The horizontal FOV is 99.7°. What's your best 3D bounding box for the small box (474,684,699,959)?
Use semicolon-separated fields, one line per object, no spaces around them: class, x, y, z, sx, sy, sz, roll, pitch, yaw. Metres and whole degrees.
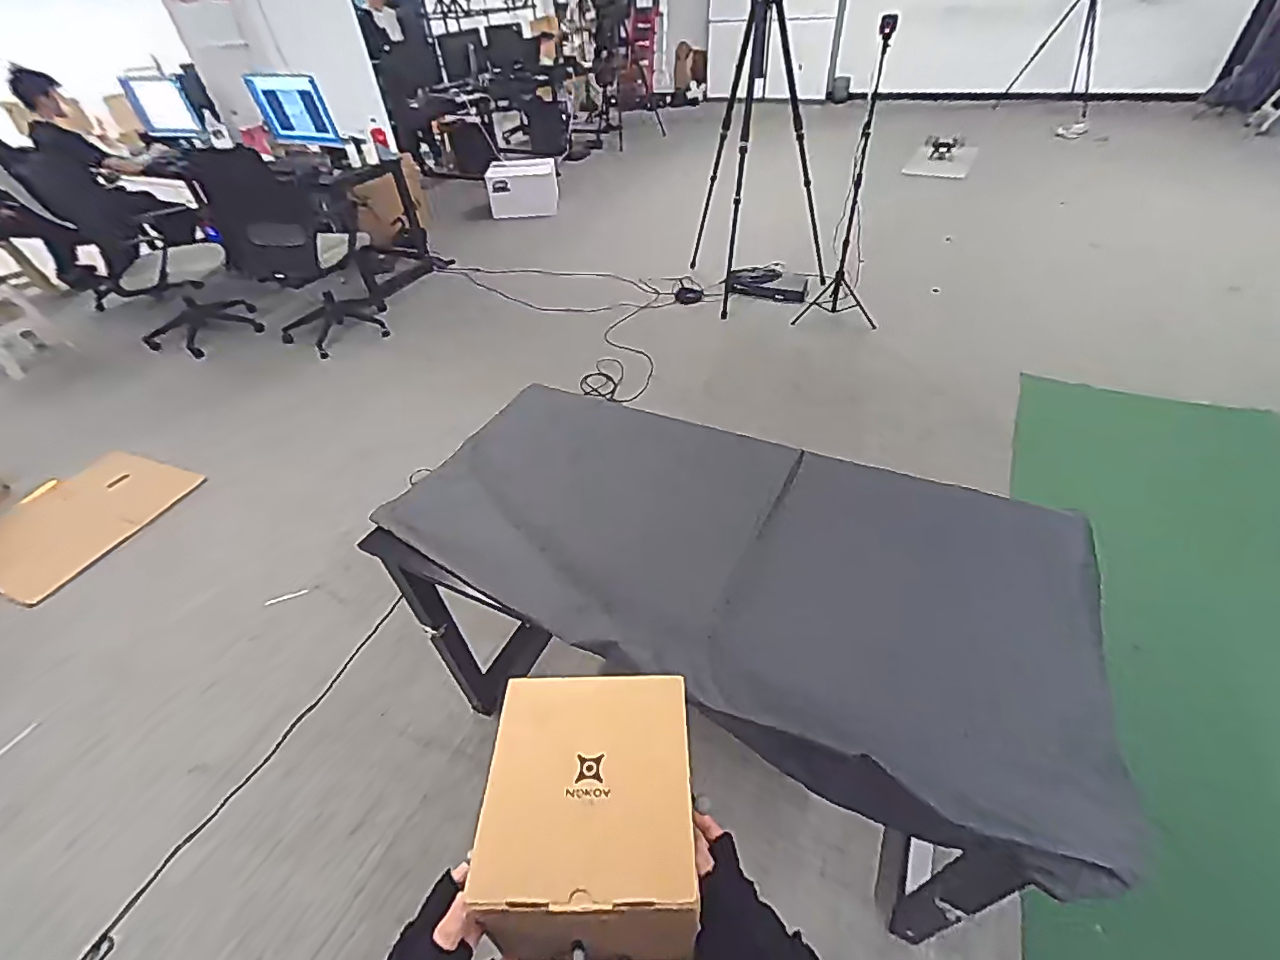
small box;-0.037;0.312;0.500;0.168;0.176;0.179;-1;40;1
